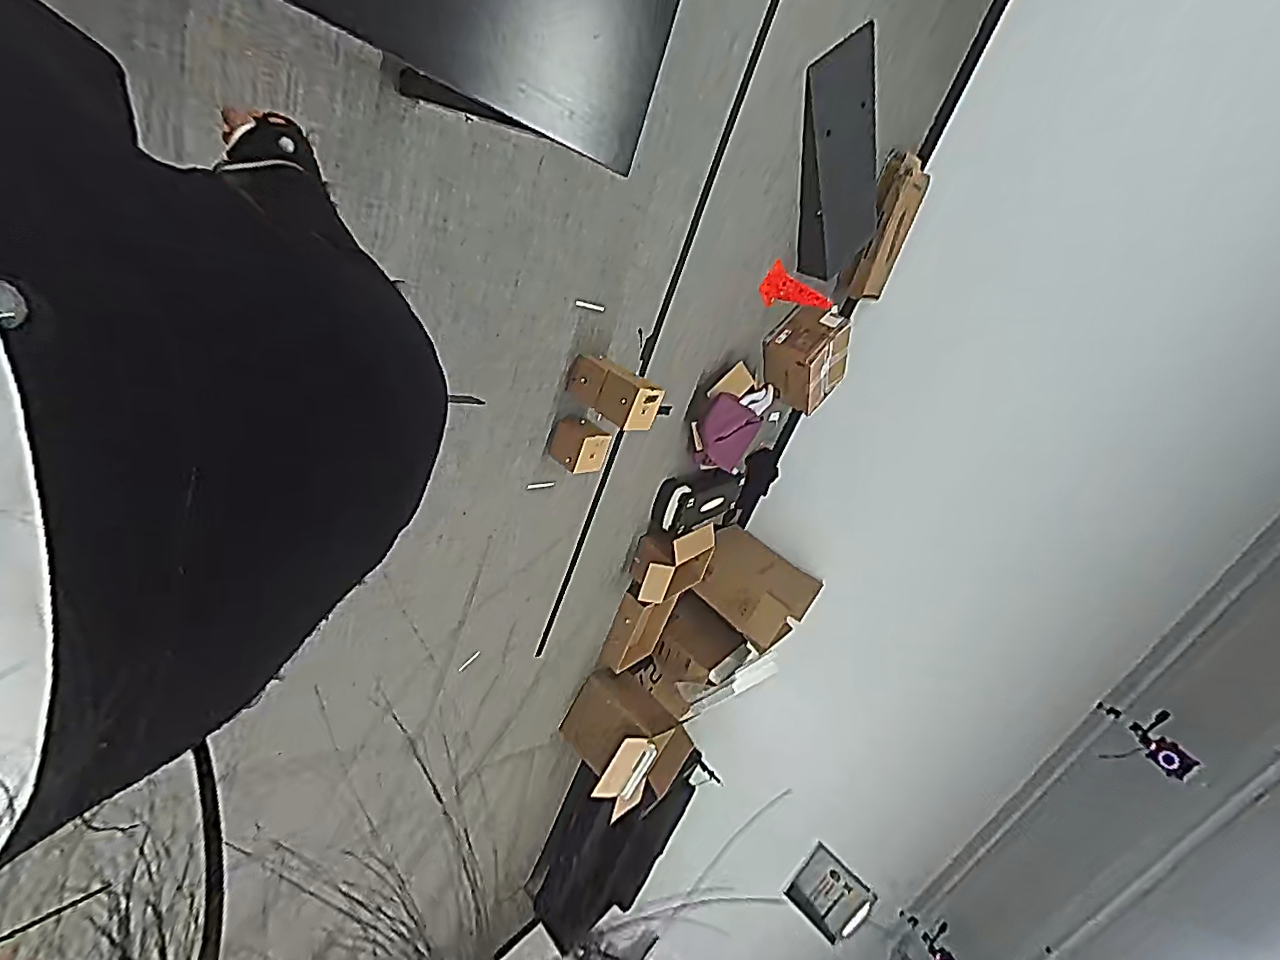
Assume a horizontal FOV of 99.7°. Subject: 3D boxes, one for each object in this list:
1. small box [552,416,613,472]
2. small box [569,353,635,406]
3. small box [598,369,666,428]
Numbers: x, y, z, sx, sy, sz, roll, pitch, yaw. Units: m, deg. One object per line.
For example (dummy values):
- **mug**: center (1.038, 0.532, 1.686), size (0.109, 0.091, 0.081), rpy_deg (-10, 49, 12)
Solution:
- **small box**: center (-0.250, -0.156, 2.288), size (0.168, 0.176, 0.179), rpy_deg (-10, 129, -50)
- **small box**: center (-0.157, -0.400, 2.173), size (0.179, 0.176, 0.168), rpy_deg (-5, 124, -52)
- **small box**: center (-0.036, -0.316, 2.096), size (0.168, 0.176, 0.179), rpy_deg (-7, 126, -52)
